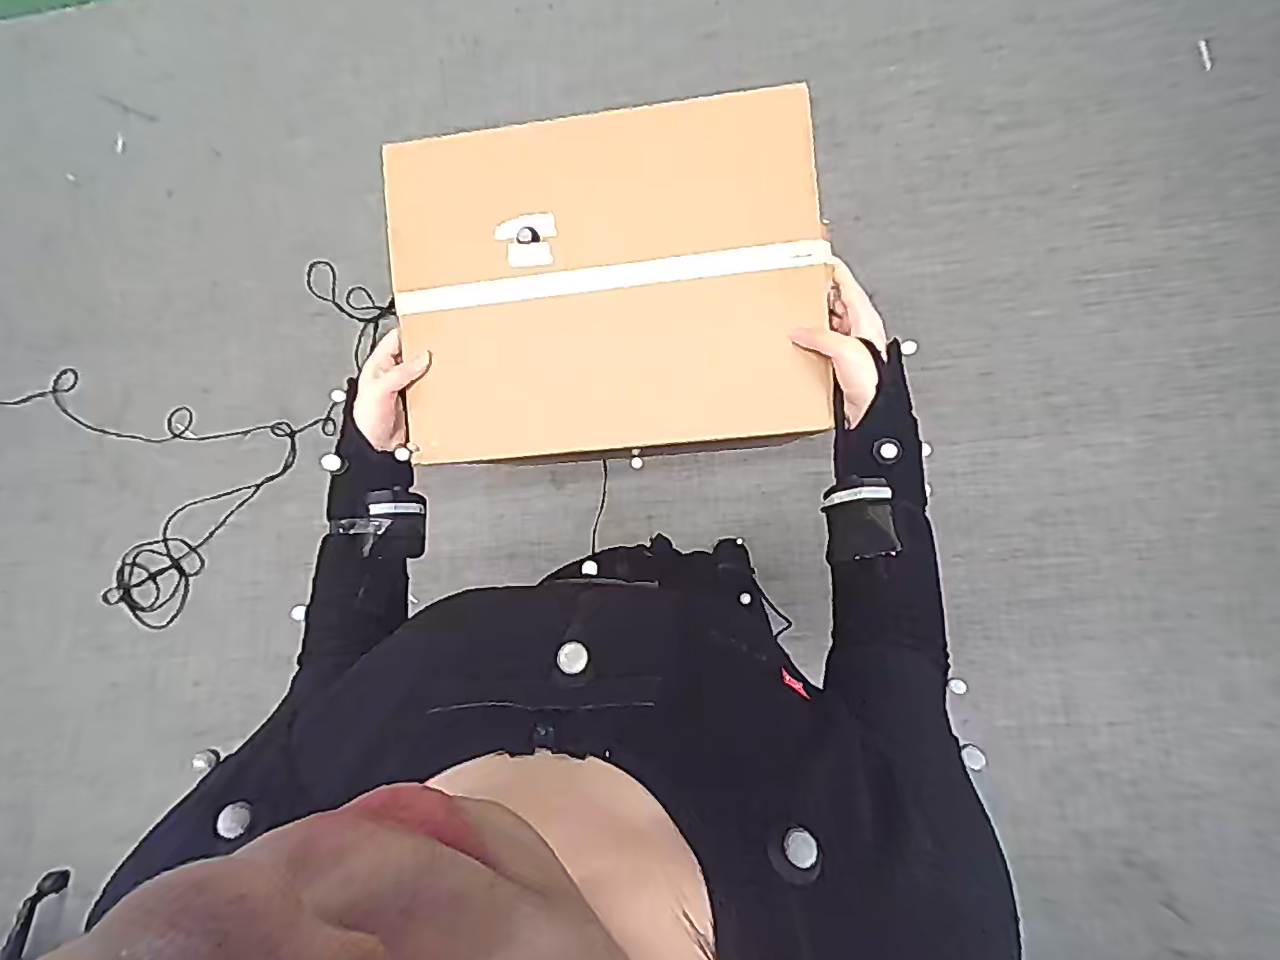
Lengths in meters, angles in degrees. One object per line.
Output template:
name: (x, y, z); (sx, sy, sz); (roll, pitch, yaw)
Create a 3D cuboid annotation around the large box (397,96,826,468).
large box: (-0.017, -0.189, 0.670); (0.408, 0.320, 0.320); (-5, 90, 7)
